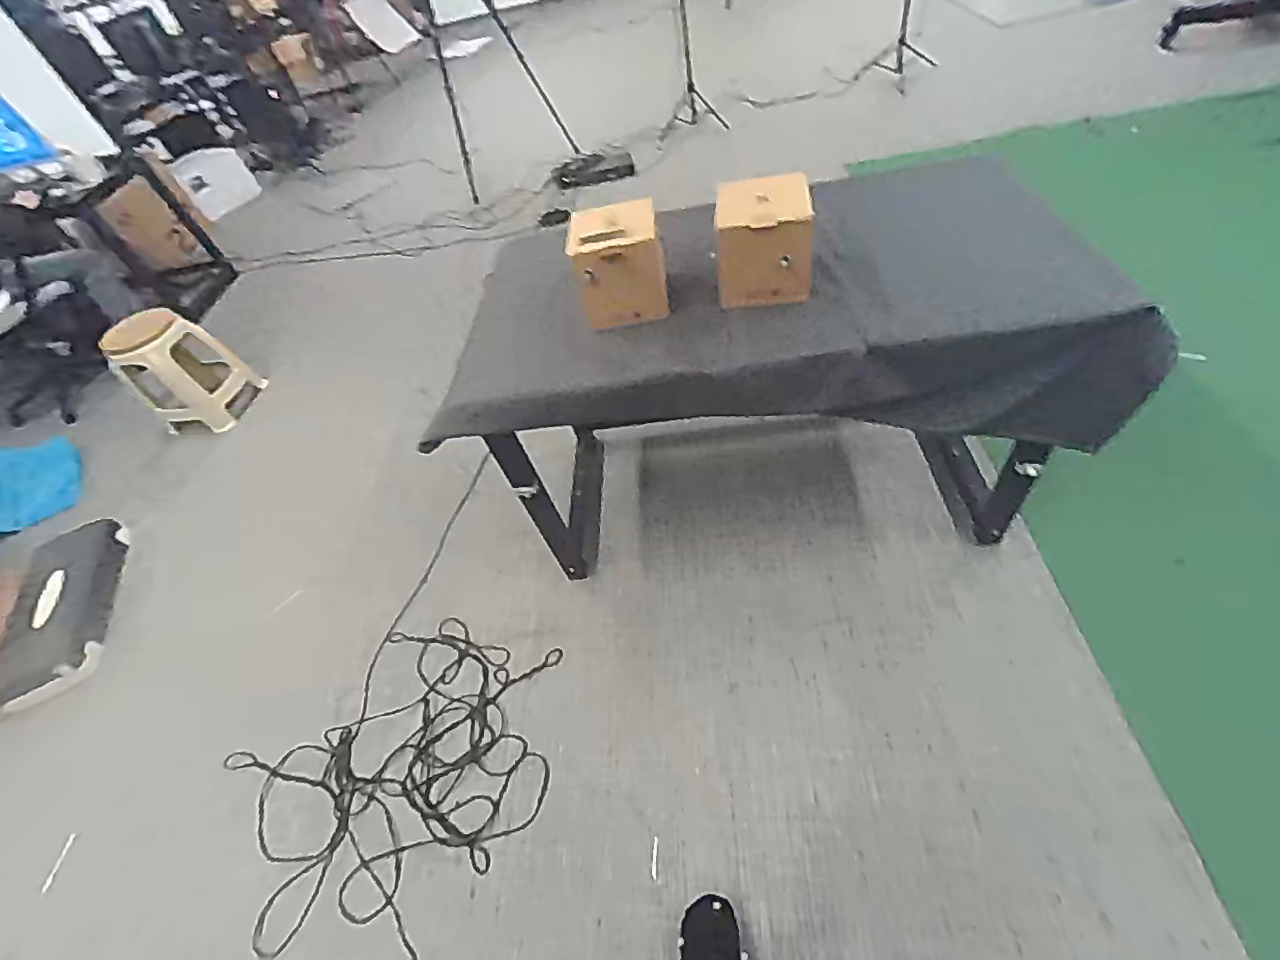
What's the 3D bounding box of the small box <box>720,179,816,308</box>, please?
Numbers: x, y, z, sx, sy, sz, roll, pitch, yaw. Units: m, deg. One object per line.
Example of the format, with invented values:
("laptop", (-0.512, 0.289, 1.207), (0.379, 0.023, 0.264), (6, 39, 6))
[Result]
("small box", (0.245, -0.446, 1.041), (0.168, 0.176, 0.179), (-1, 49, 12))
